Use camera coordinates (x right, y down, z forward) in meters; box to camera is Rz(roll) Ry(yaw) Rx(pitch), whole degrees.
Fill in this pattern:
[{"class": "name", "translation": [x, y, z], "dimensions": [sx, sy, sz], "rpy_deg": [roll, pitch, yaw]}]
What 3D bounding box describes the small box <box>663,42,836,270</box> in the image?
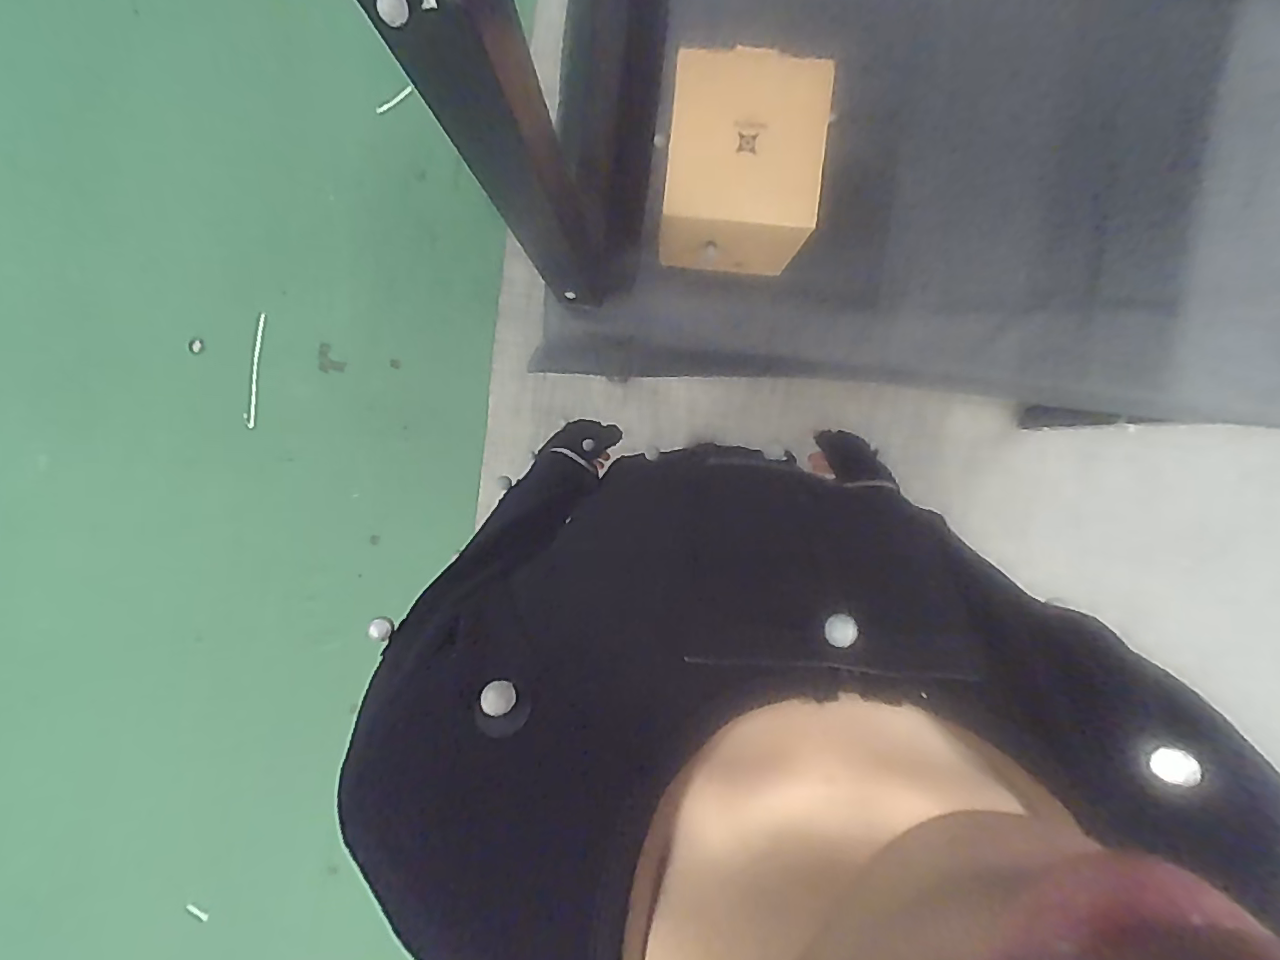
[{"class": "small box", "translation": [0.117, -0.367, 0.644], "dimensions": [0.168, 0.176, 0.179], "rpy_deg": [5, 93, 1]}]
